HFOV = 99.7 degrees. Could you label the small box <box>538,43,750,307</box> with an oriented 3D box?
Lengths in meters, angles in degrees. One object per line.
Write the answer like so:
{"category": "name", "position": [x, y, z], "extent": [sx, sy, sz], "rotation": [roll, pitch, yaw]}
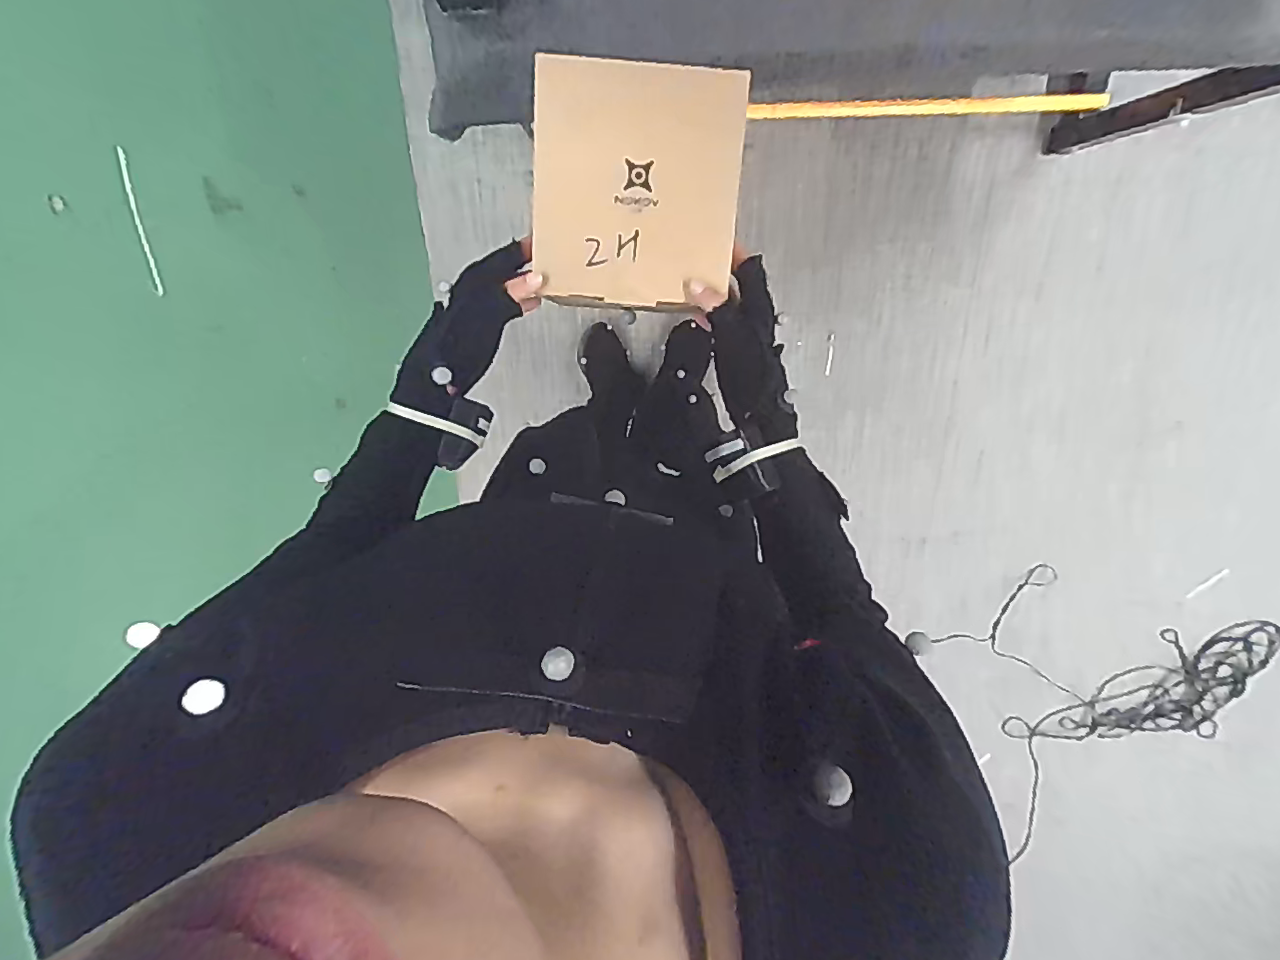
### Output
{"category": "small box", "position": [-0.001, -0.269, 0.519], "extent": [0.168, 0.176, 0.179], "rotation": [4, 104, -1]}
